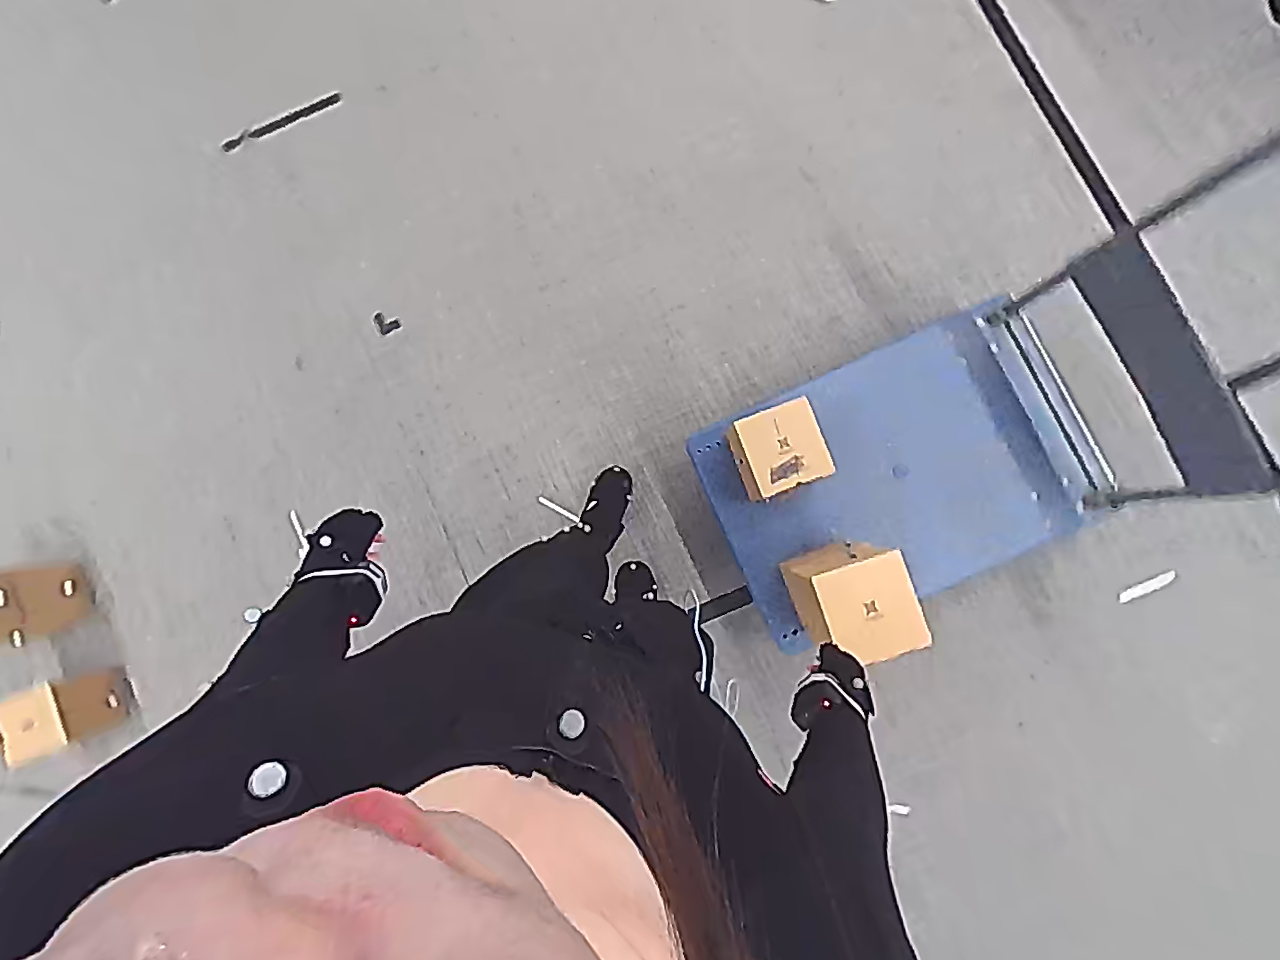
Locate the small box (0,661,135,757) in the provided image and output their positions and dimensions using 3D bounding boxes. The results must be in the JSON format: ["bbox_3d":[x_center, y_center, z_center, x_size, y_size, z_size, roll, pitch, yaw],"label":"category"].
[{"bbox_3d":[-1.562,0.621,1.484,0.179,0.176,0.168,-22,86,1],"label":"small box"}]

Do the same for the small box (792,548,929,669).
[{"bbox_3d":[0.409,0.233,1.034,0.168,0.176,0.179,-18,87,2],"label":"small box"}]

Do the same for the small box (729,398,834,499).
[{"bbox_3d":[0.310,-0.063,1.221,0.168,0.176,0.179,-20,85,2],"label":"small box"}]

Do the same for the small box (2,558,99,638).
[{"bbox_3d":[-1.694,0.330,1.511,0.179,0.176,0.168,-26,85,1],"label":"small box"}]

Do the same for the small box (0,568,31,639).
[{"bbox_3d":[-1.704,0.325,1.347,0.168,0.176,0.179,-26,84,2],"label":"small box"}]
